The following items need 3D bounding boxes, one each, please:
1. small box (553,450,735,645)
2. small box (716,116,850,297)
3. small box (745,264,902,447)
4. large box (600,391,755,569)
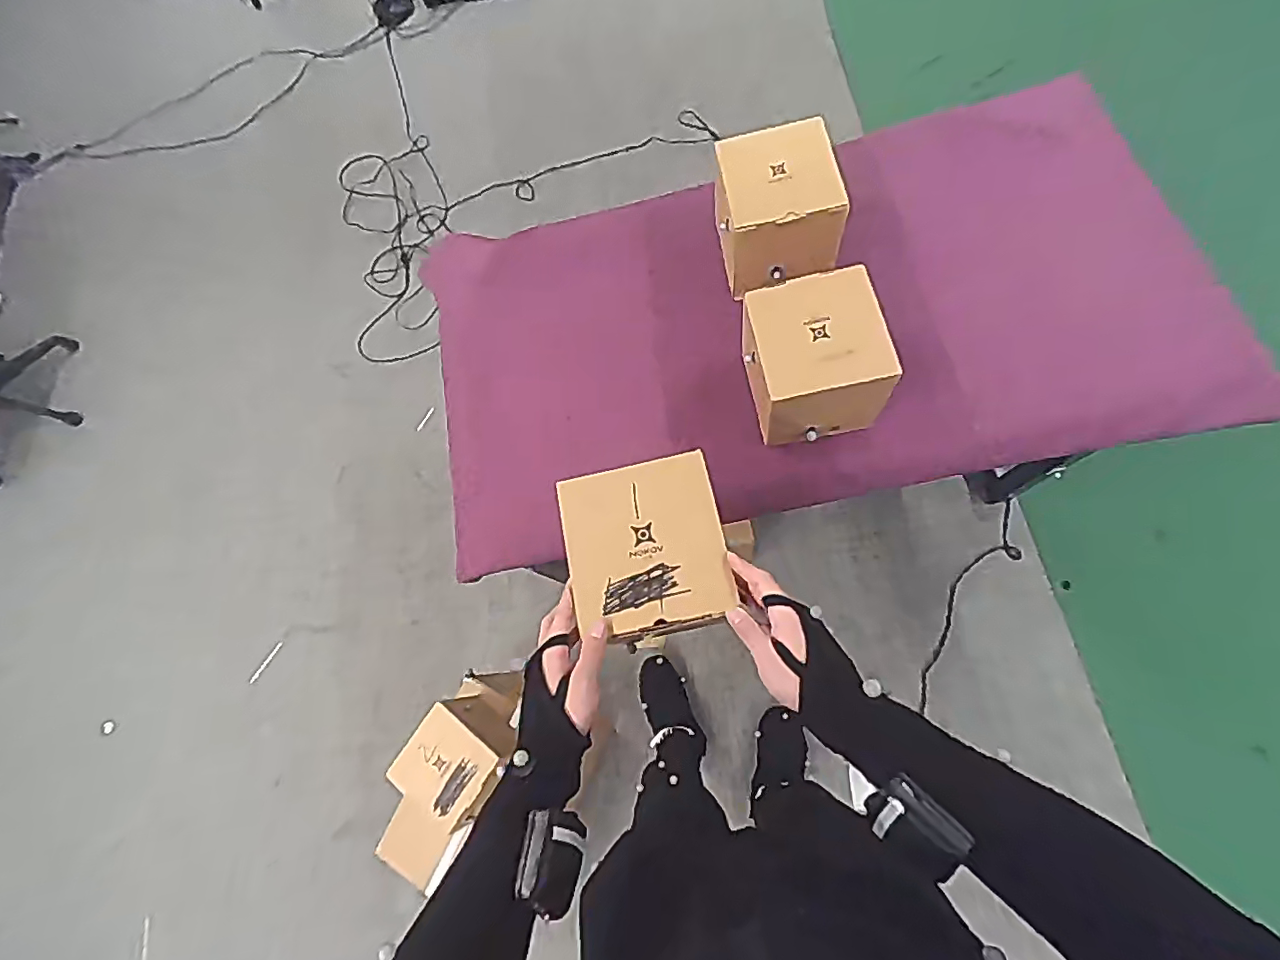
[{"bbox_3d":[0.010,0.088,0.626,0.168,0.176,0.179,-13,70,3],"label":"small box"},{"bbox_3d":[0.215,-0.427,0.863,0.168,0.176,0.179,-10,72,6],"label":"small box"},{"bbox_3d":[0.245,-0.168,0.773,0.168,0.176,0.179,-11,70,8],"label":"small box"},{"bbox_3d":[0.105,0.038,1.437,0.320,0.320,0.408,-12,69,6],"label":"large box"}]
